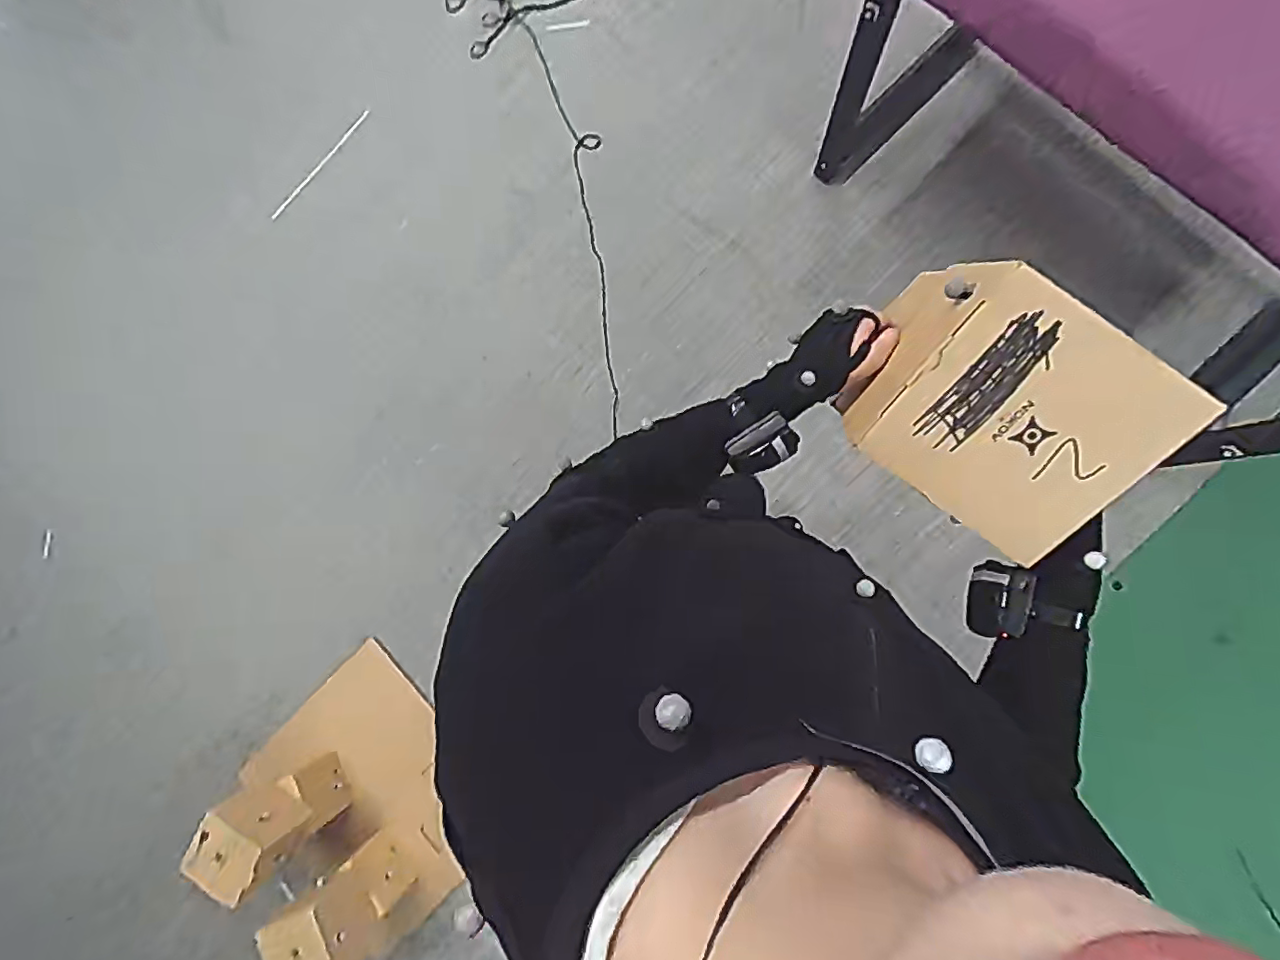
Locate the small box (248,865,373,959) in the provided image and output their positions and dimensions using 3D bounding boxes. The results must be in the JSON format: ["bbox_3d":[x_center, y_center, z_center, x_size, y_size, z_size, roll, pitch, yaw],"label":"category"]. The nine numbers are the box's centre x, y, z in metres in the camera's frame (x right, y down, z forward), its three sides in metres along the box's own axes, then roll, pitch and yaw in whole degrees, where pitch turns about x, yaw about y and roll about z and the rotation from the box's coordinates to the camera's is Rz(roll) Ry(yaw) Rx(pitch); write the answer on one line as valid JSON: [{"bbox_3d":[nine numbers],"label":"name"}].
[{"bbox_3d":[-0.784,1.089,1.306,0.168,0.176,0.179,-26,82,5],"label":"small box"}]

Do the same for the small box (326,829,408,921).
[{"bbox_3d":[-0.765,1.103,1.468,0.179,0.176,0.168,-43,81,3],"label":"small box"}]

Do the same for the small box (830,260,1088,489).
[{"bbox_3d":[0.338,-0.126,0.620,0.168,0.176,0.179,39,114,-3],"label":"small box"}]

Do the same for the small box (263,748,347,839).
[{"bbox_3d":[-0.967,0.887,1.508,0.179,0.176,0.168,-26,83,5],"label":"small box"}]

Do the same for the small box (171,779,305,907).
[{"bbox_3d":[-0.988,0.888,1.345,0.179,0.176,0.168,28,90,8],"label":"small box"}]
